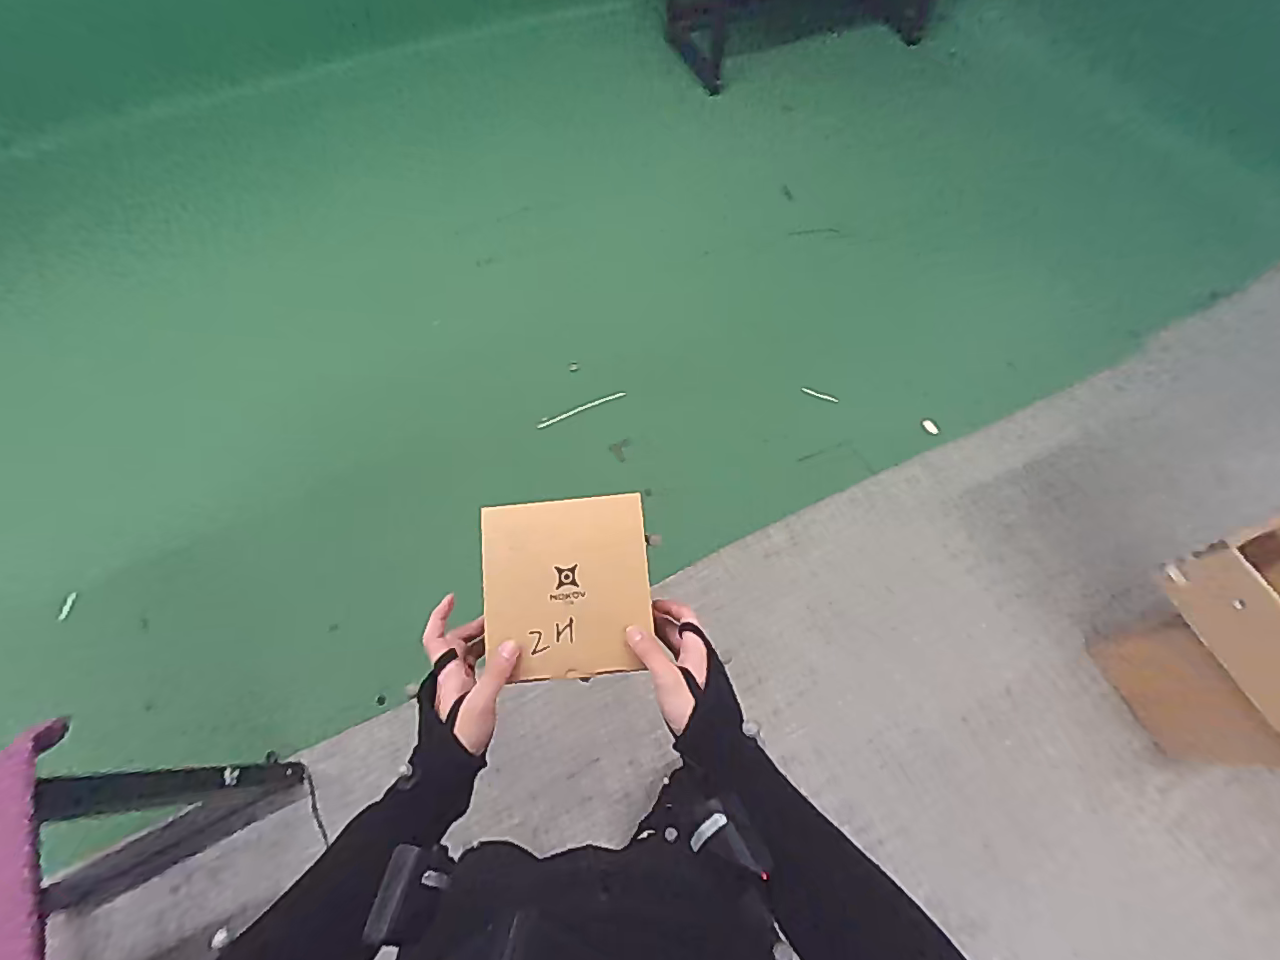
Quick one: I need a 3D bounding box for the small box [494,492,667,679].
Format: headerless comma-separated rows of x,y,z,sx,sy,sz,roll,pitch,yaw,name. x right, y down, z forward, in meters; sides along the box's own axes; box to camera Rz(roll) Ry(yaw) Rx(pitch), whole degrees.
-0.061,0.121,0.609,0.168,0.176,0.179,-4,76,0,small box
